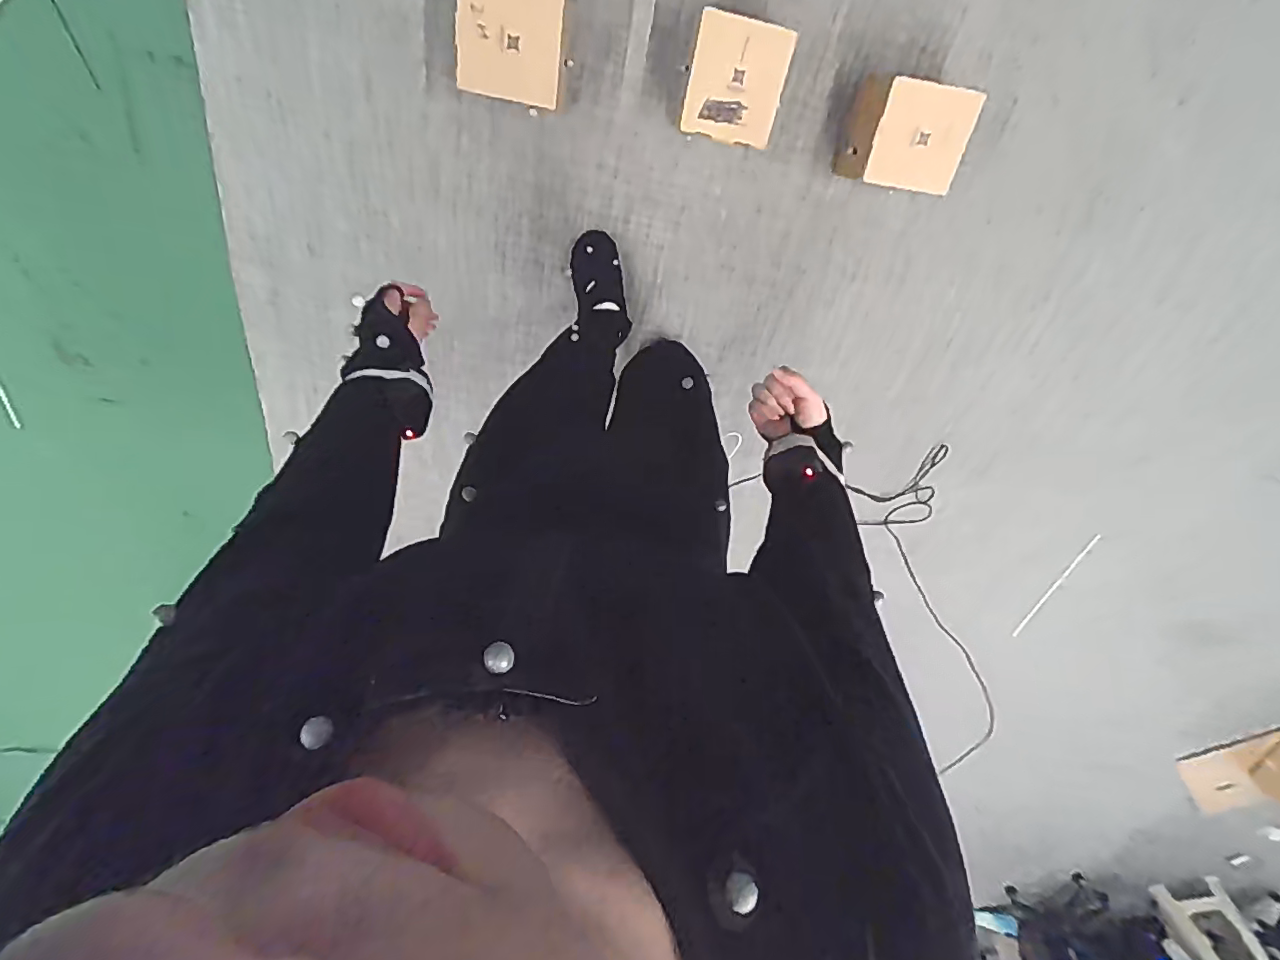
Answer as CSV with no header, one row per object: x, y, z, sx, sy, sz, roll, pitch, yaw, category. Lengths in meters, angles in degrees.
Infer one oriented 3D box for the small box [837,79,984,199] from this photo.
0.512,-0.663,1.056,0.179,0.176,0.168,7,124,-6,small box

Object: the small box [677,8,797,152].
0.168,-0.734,1.007,0.168,0.176,0.179,10,123,-7,small box

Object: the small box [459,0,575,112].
-0.217,-0.782,0.975,0.179,0.176,0.168,9,123,-6,small box
